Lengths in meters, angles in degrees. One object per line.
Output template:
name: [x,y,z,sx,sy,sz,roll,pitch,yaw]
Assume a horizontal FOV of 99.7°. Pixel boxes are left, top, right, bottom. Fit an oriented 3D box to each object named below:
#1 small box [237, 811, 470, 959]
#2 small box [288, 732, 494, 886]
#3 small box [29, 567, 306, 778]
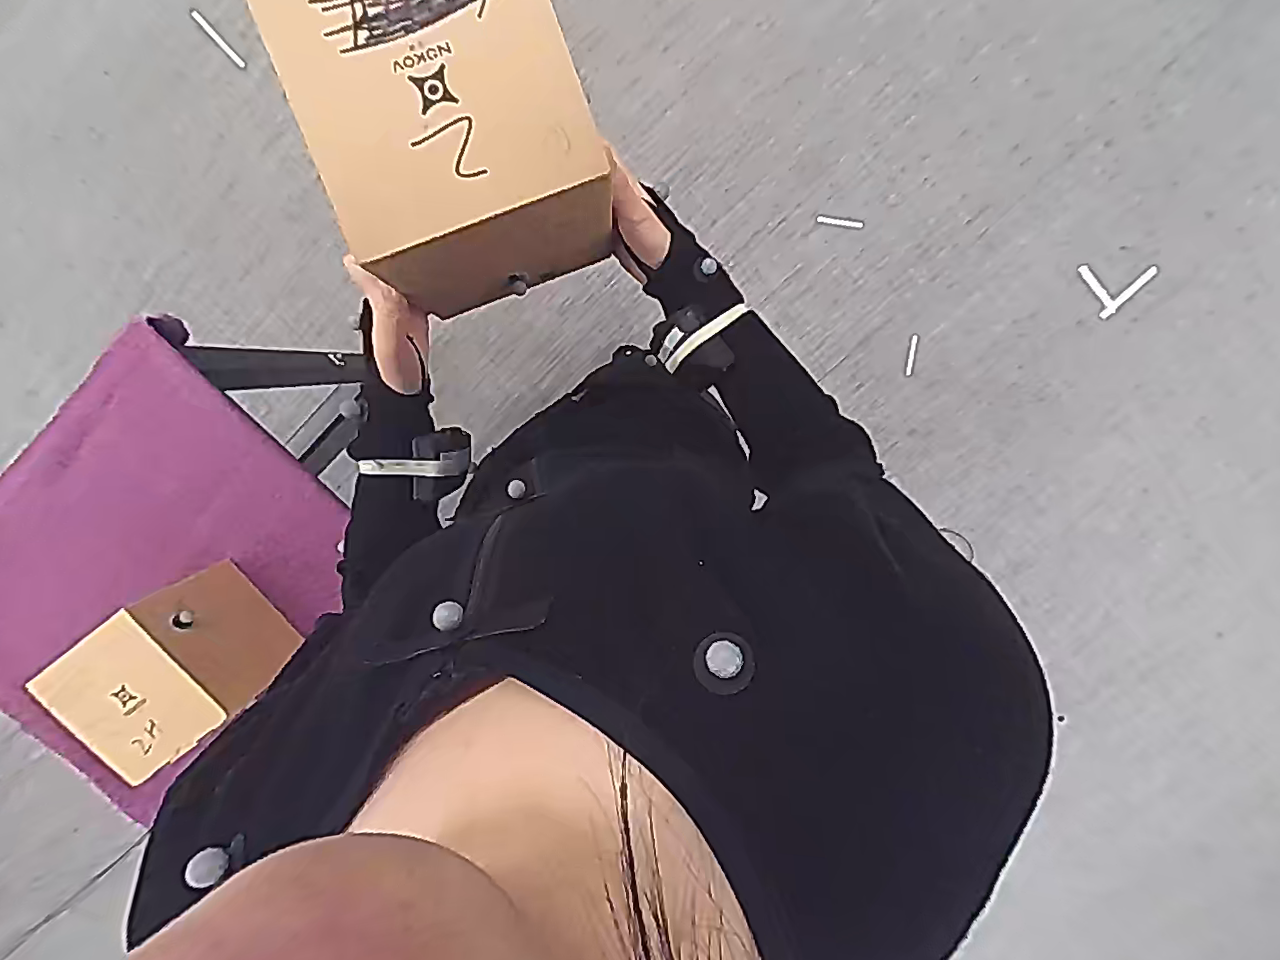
small box: [-0.327,0.533,0.619,0.168,0.176,0.179,-42,98,6]
small box: [-0.339,0.509,0.779,0.168,0.176,0.179,-44,98,7]
small box: [-0.602,0.237,0.716,0.168,0.176,0.179,-35,101,7]
